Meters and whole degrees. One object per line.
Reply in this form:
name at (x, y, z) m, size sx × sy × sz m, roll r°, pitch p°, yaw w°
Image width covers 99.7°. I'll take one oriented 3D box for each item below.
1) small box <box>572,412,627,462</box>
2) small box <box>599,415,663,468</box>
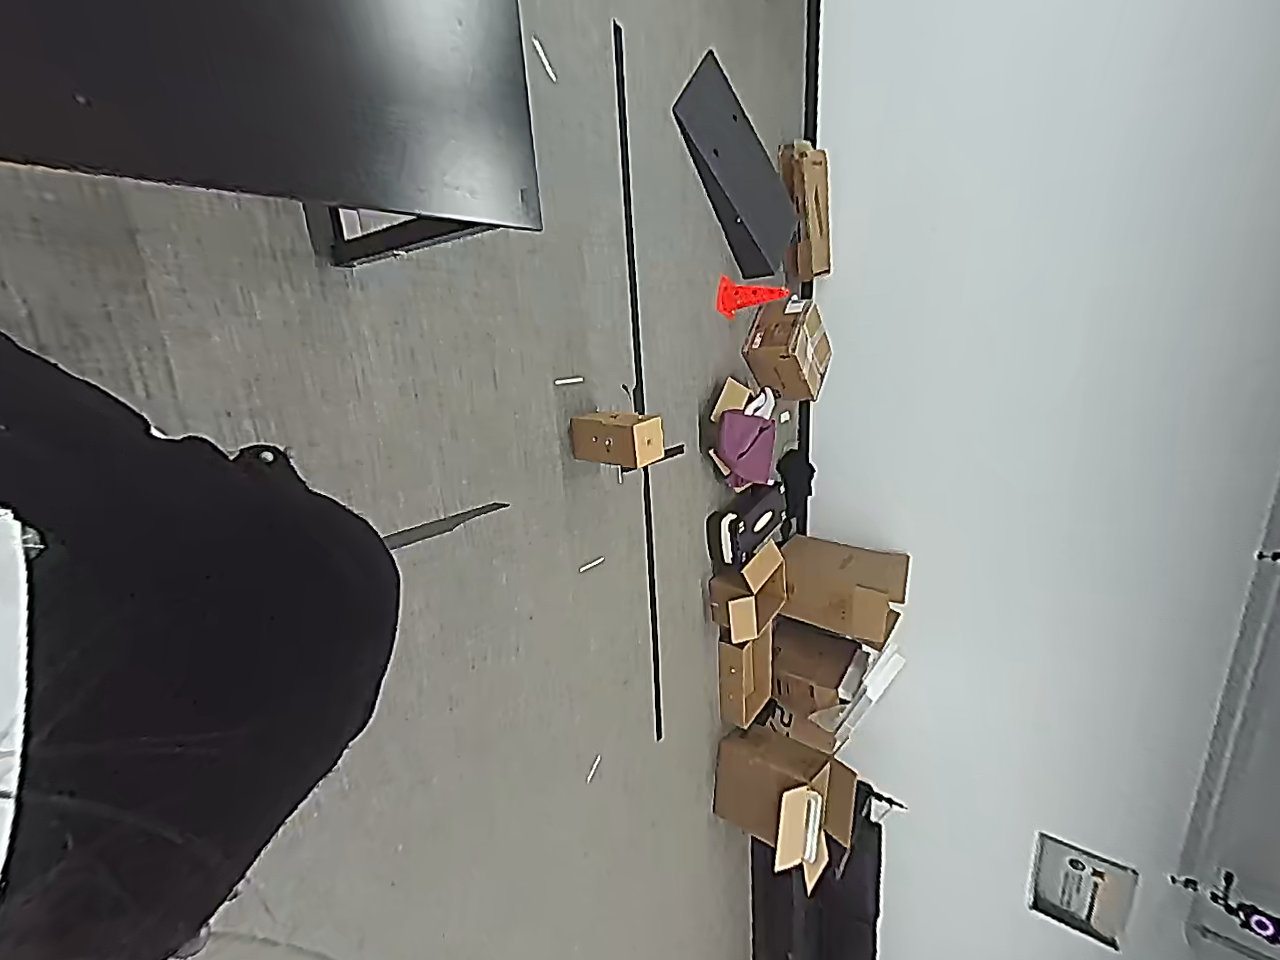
small box at (-0.160, -0.179, 2.180) m, size 0.168 × 0.176 × 0.179 m, roll -23°, pitch 116°, yaw -48°
small box at (-0.033, -0.155, 2.081) m, size 0.179 × 0.176 × 0.168 m, roll -26°, pitch 115°, yaw -46°
